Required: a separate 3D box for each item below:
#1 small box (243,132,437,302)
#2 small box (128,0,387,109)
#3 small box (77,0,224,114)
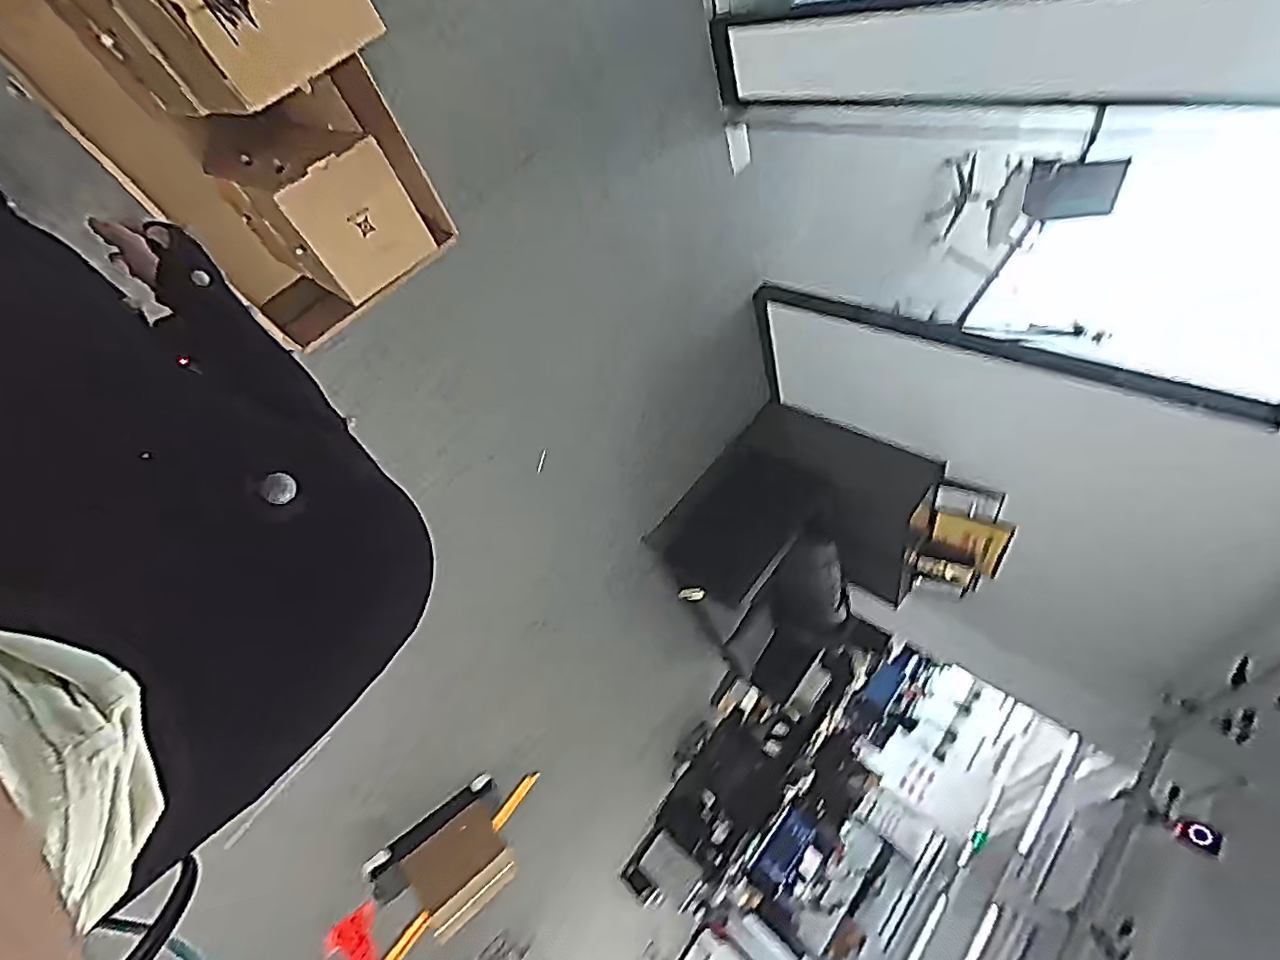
[{"bbox_3d":[-0.461,-0.410,0.835,0.168,0.176,0.179,-45,144,-19],"label":"small box"},{"bbox_3d":[-0.405,-0.501,0.541,0.179,0.176,0.168,-49,145,-18],"label":"small box"},{"bbox_3d":[-0.527,-0.562,0.633,0.179,0.176,0.168,-48,144,-18],"label":"small box"}]
